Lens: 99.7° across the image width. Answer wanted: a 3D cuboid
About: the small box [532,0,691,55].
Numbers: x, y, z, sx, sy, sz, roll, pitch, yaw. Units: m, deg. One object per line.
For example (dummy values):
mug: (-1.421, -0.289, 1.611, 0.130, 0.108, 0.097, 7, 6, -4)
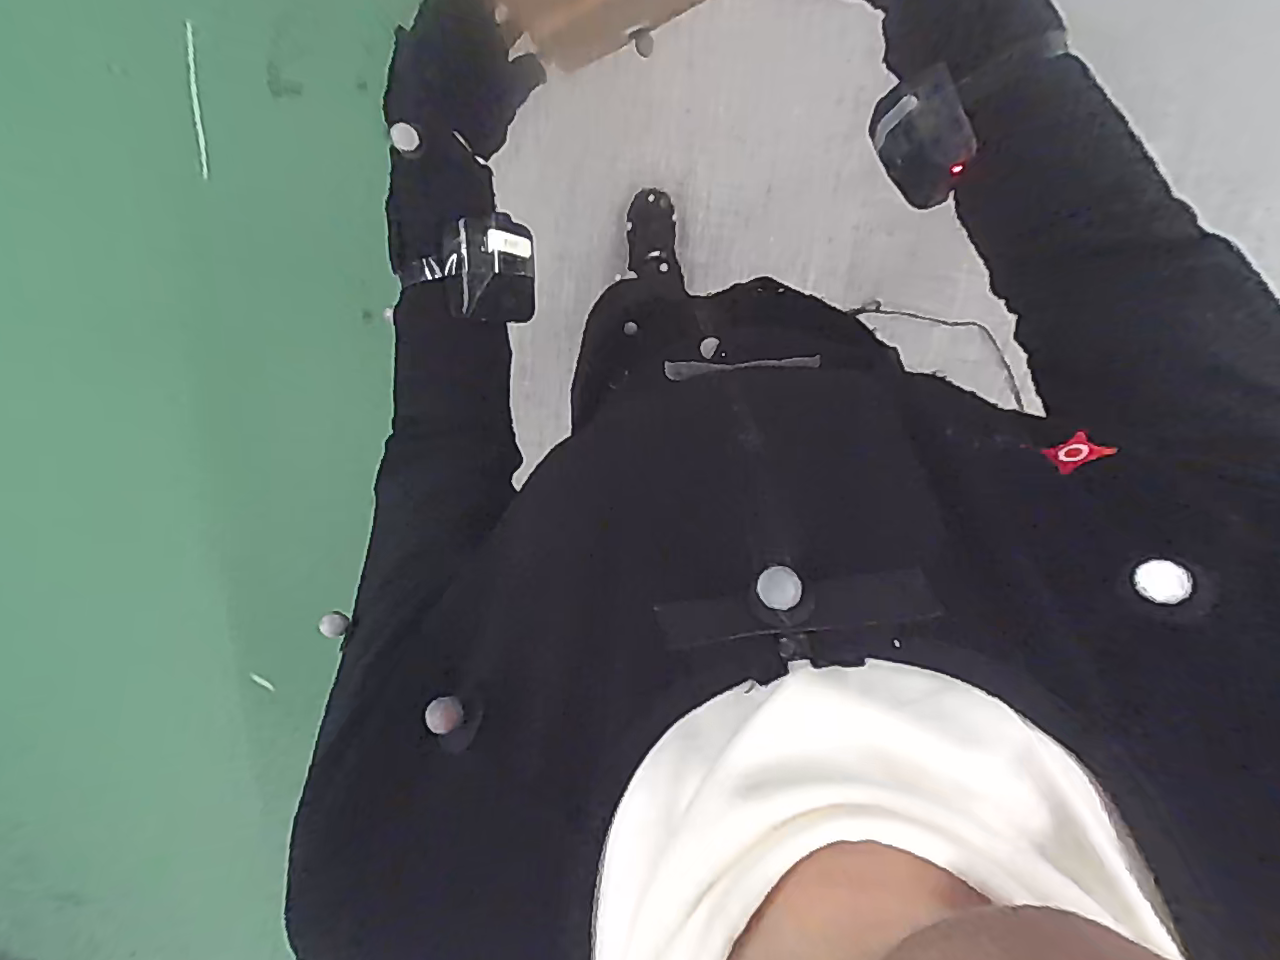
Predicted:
small box: (-0.020, -0.429, 0.358, 0.168, 0.176, 0.179, -19, 118, 14)
